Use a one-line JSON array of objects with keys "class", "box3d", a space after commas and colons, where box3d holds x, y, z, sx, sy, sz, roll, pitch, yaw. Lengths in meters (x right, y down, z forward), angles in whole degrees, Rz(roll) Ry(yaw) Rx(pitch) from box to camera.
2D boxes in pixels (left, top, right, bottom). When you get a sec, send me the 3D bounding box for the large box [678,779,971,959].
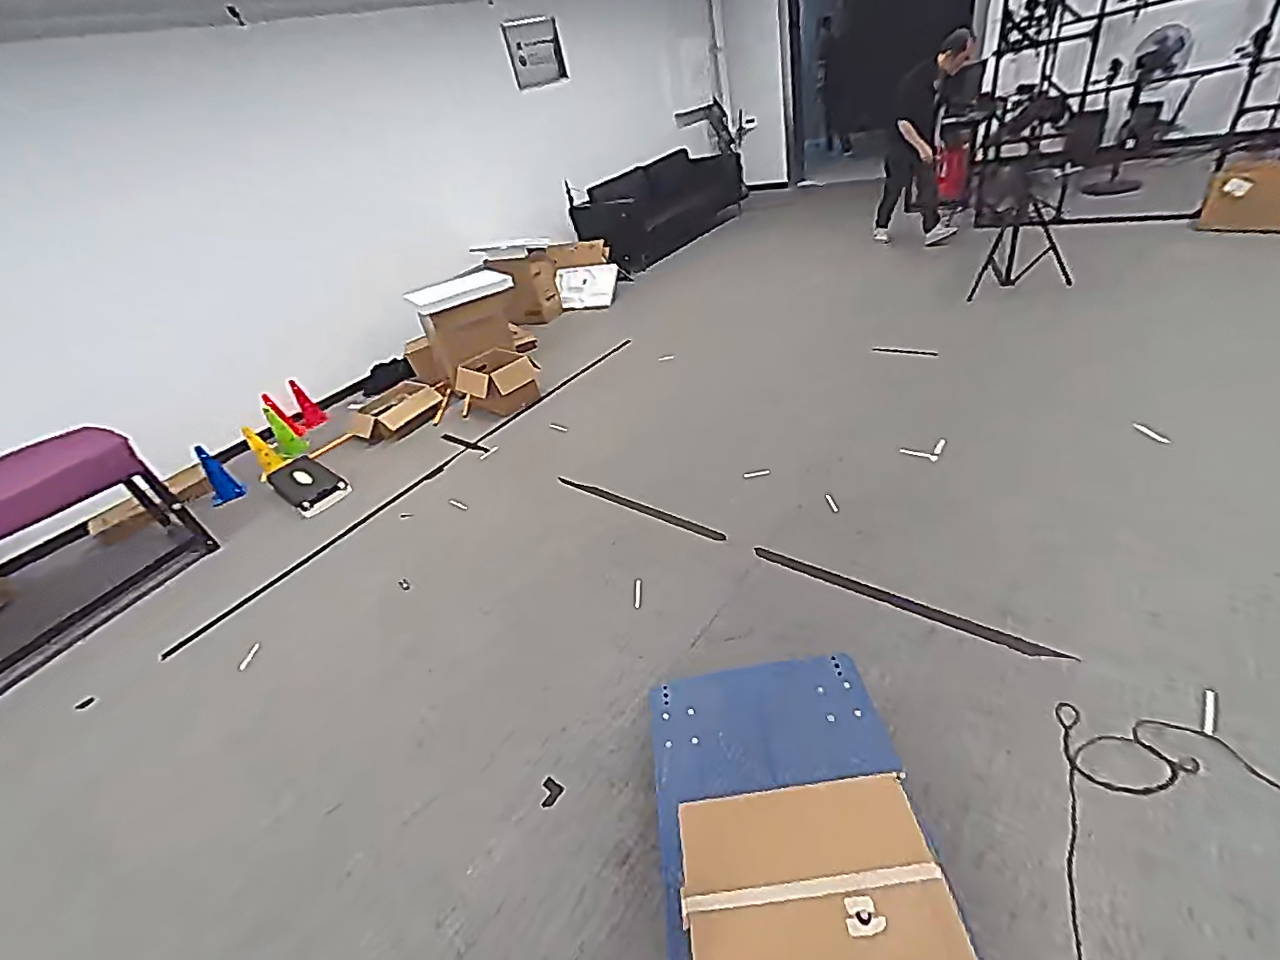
[{"class": "large box", "box3d": [0.299, 0.784, 0.947, 0.408, 0.320, 0.320, -11, 36, 4]}]
